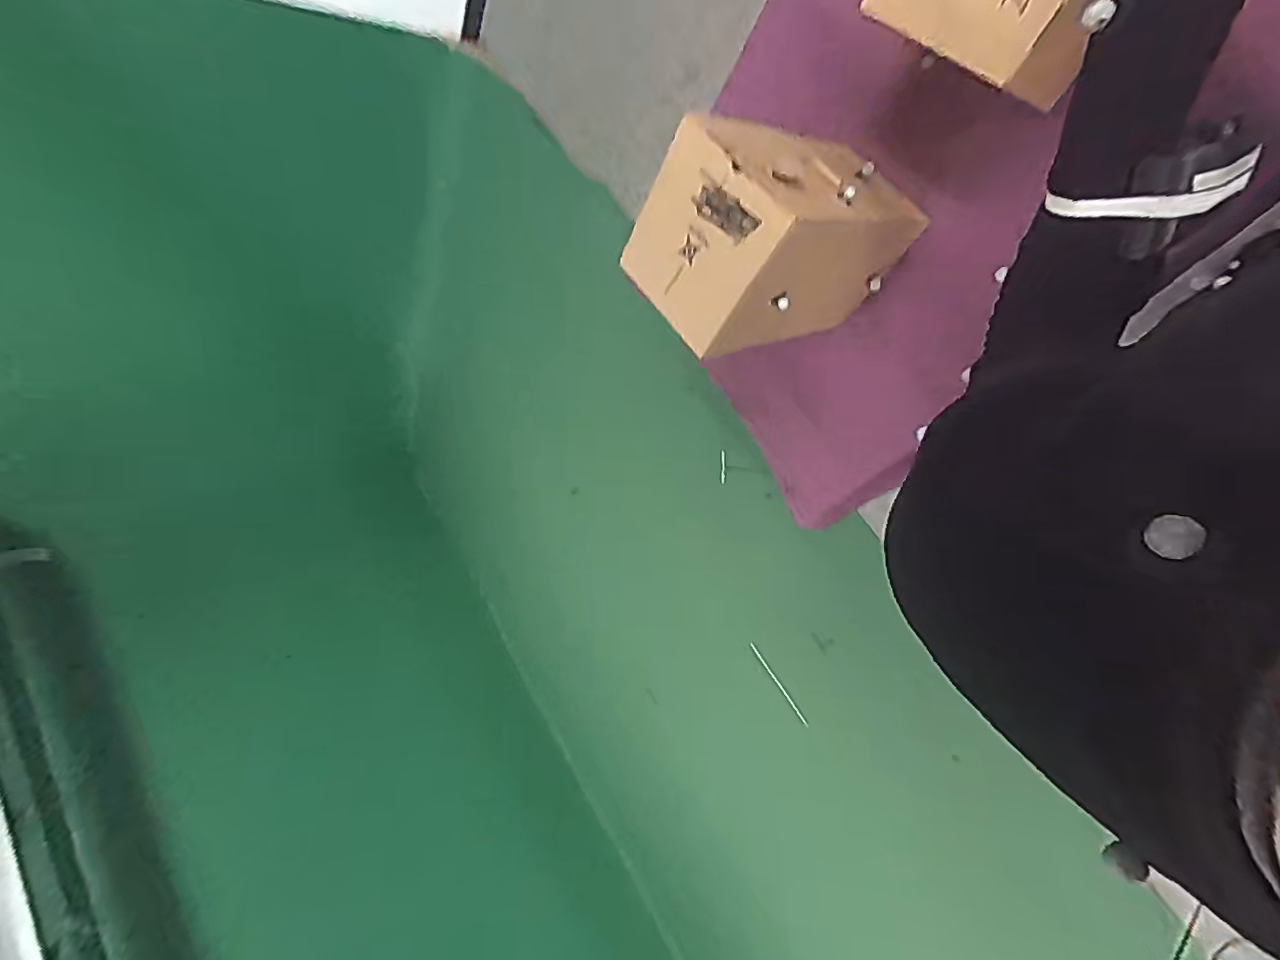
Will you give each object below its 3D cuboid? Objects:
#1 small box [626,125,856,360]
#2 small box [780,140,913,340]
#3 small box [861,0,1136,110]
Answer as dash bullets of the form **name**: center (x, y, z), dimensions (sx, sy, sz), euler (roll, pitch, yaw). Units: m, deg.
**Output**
- **small box**: center (0.120, -0.272, 0.629), dimensions (0.168, 0.176, 0.179), euler (53, 140, 16)
- **small box**: center (0.238, -0.320, 0.735), dimensions (0.168, 0.176, 0.179), euler (53, 137, 17)
- **small box**: center (0.361, -0.487, 0.520), dimensions (0.179, 0.176, 0.168), euler (49, 138, 20)
